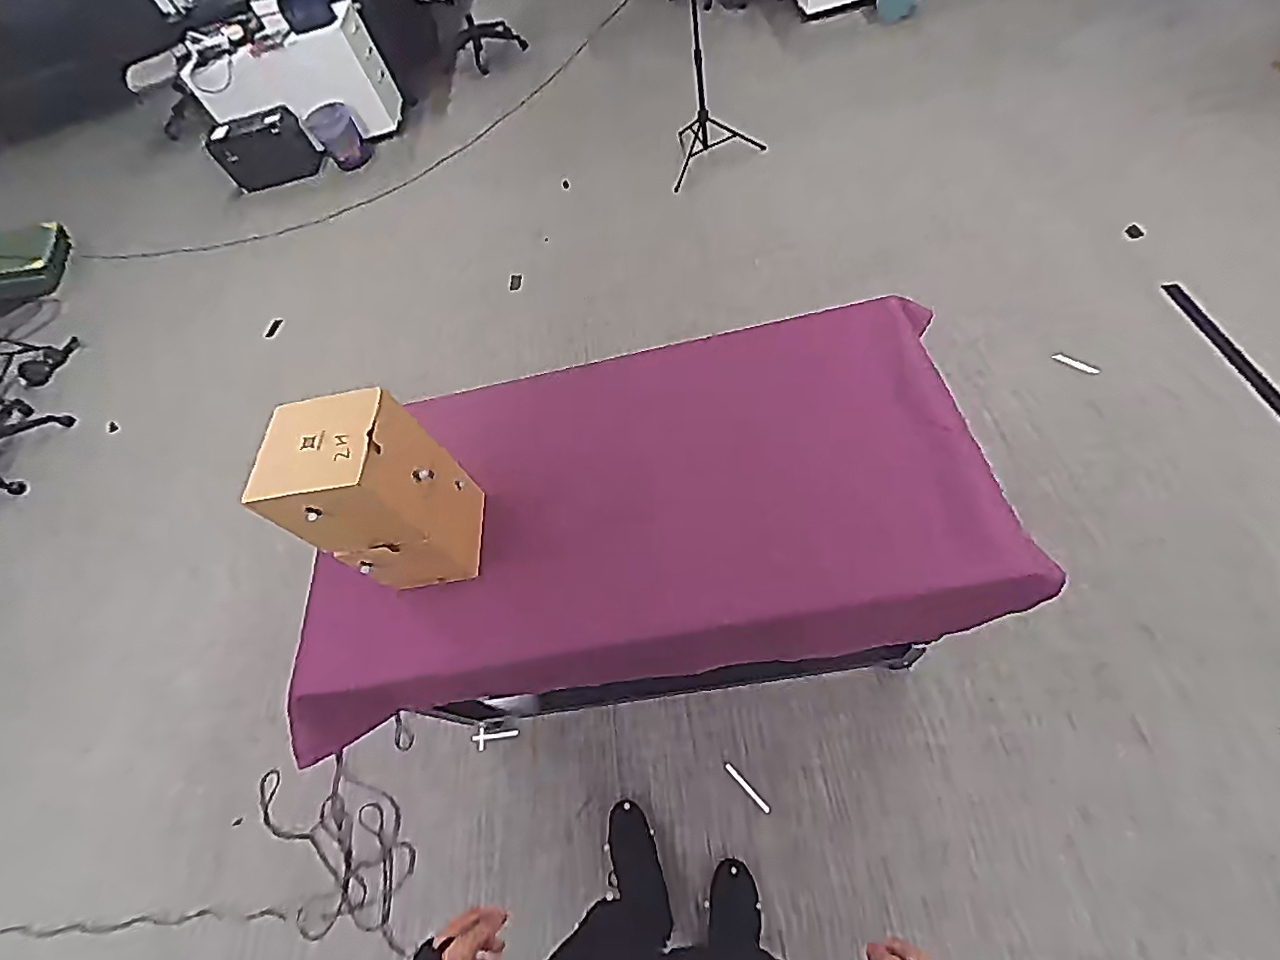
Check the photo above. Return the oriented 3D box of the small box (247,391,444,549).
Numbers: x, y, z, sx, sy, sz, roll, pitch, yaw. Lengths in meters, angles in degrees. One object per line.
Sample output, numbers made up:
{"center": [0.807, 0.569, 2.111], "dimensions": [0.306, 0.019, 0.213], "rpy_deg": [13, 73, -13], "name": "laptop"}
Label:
{"center": [-0.424, -0.007, 0.811], "dimensions": [0.179, 0.176, 0.168], "rpy_deg": [-8, 58, 8], "name": "small box"}
